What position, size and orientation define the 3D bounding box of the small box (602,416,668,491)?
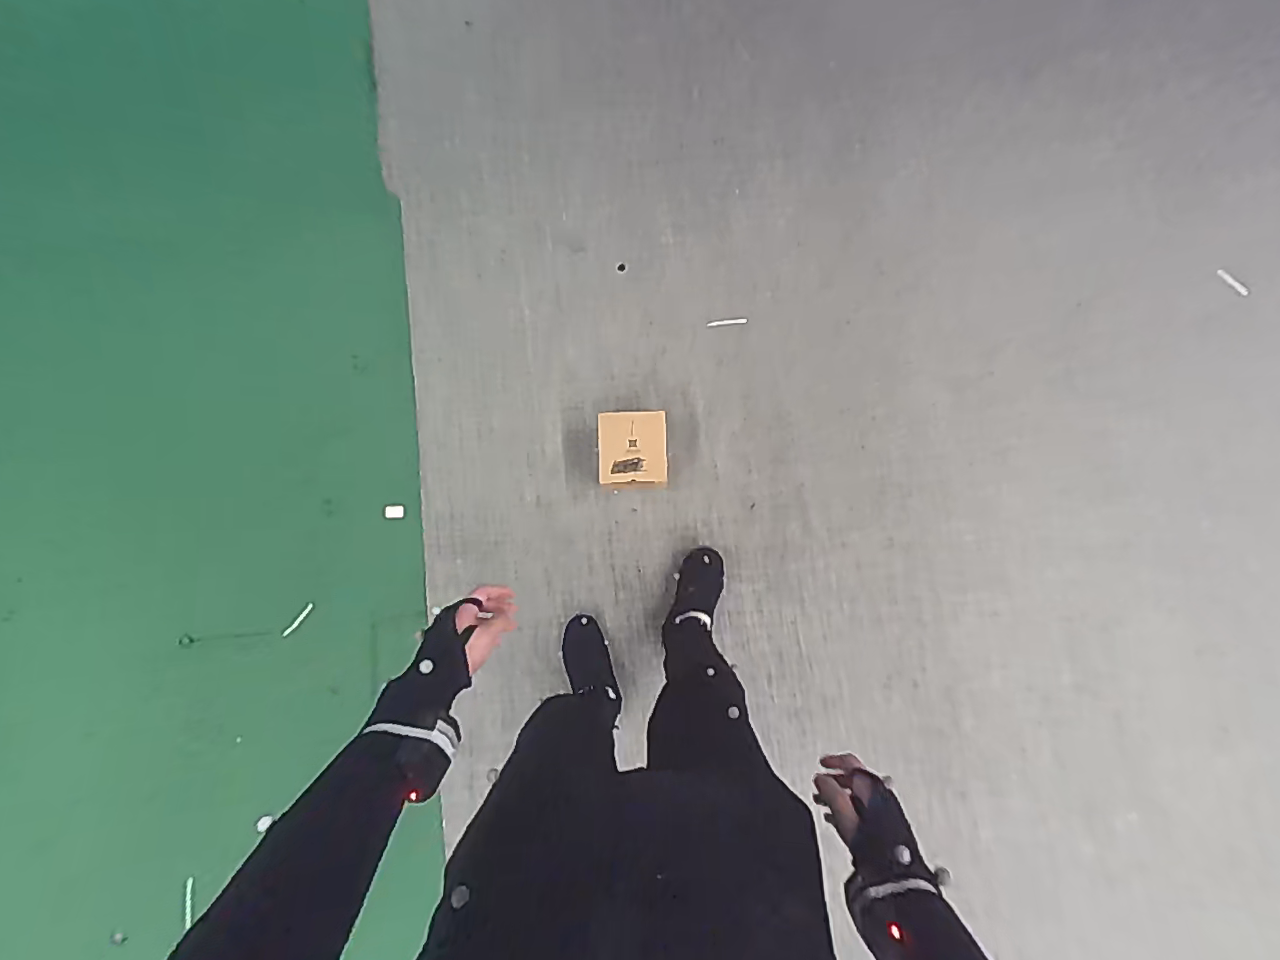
[{"bbox_3d":[-0.012,-0.062,1.398,0.168,0.176,0.179,-1,83,-1],"label":"small box"}]
